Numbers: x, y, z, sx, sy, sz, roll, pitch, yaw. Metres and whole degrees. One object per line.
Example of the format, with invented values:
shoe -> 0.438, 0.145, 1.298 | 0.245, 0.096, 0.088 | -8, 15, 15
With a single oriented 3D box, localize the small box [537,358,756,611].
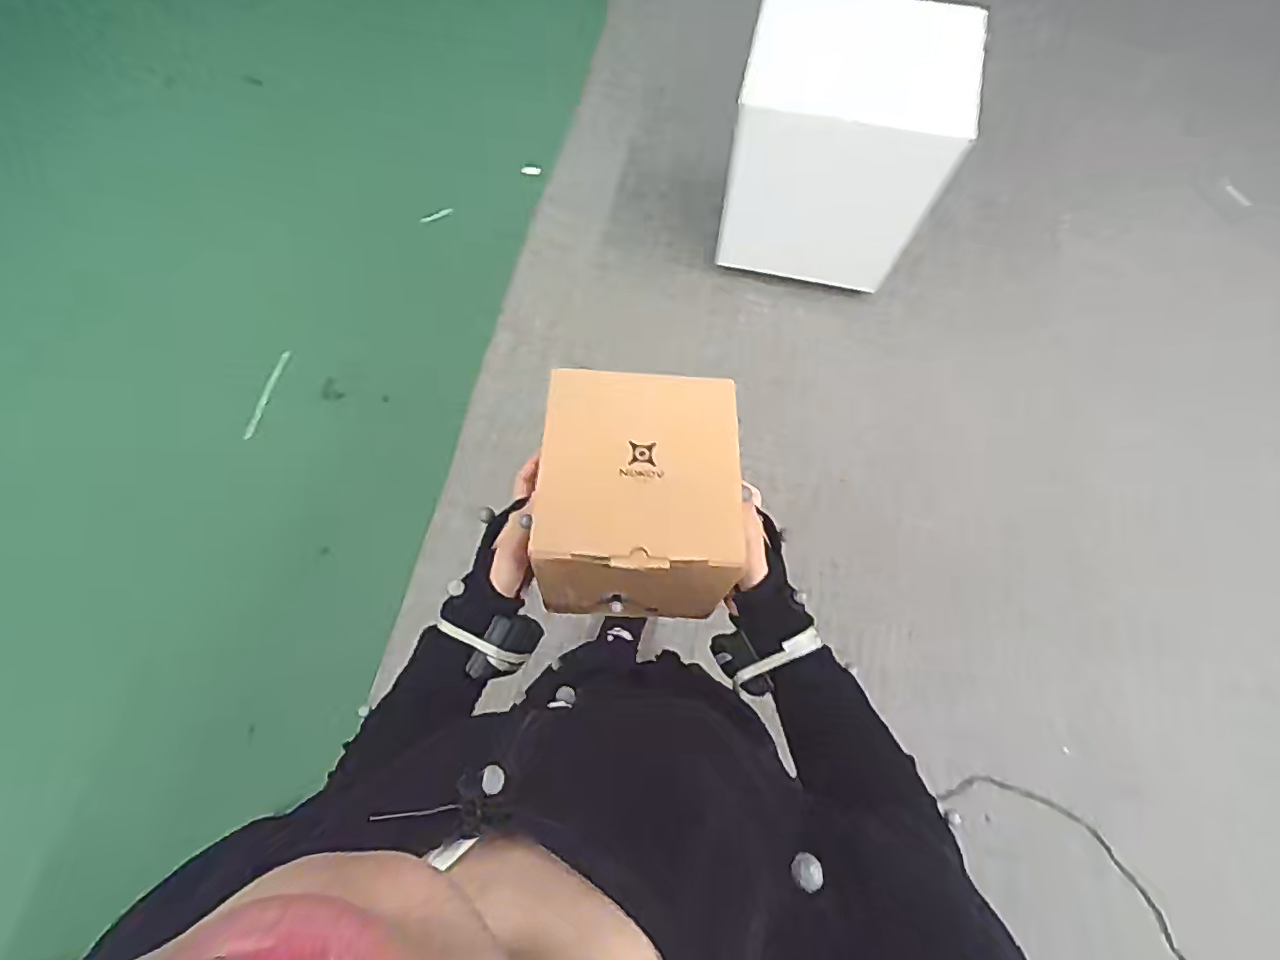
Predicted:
small box -> 0.002, 0.012, 0.505 | 0.168, 0.176, 0.179 | 3, 63, -3
